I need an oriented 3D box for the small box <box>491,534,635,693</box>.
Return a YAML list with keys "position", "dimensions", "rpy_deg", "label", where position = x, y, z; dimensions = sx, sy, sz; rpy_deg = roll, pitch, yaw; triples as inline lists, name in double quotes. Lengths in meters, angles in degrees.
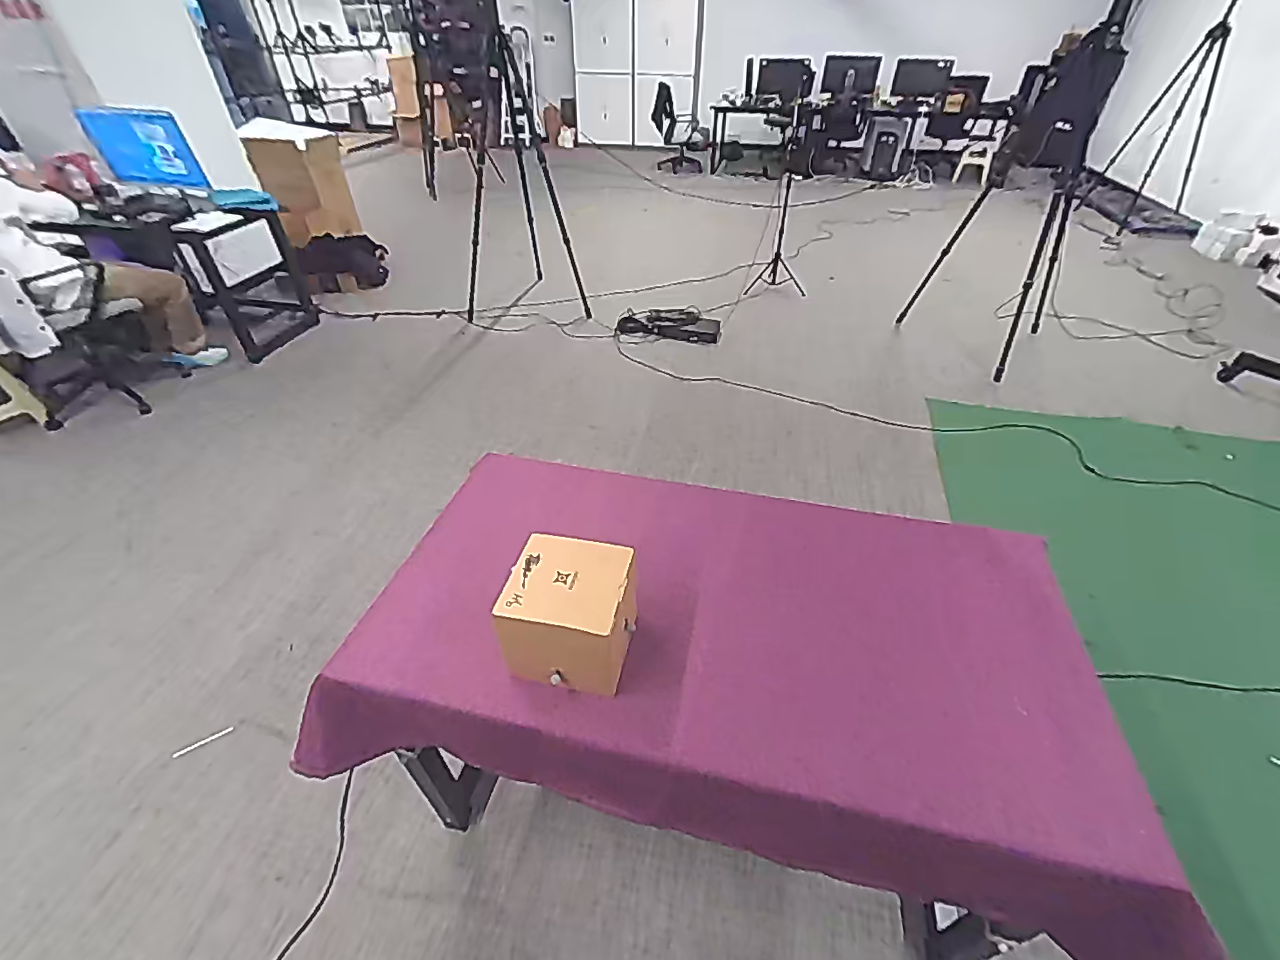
- position: [-0.111, 0.213, 0.858]
  dimensions: [0.179, 0.176, 0.168]
  rpy_deg: [9, 40, 9]
  label: "small box"
